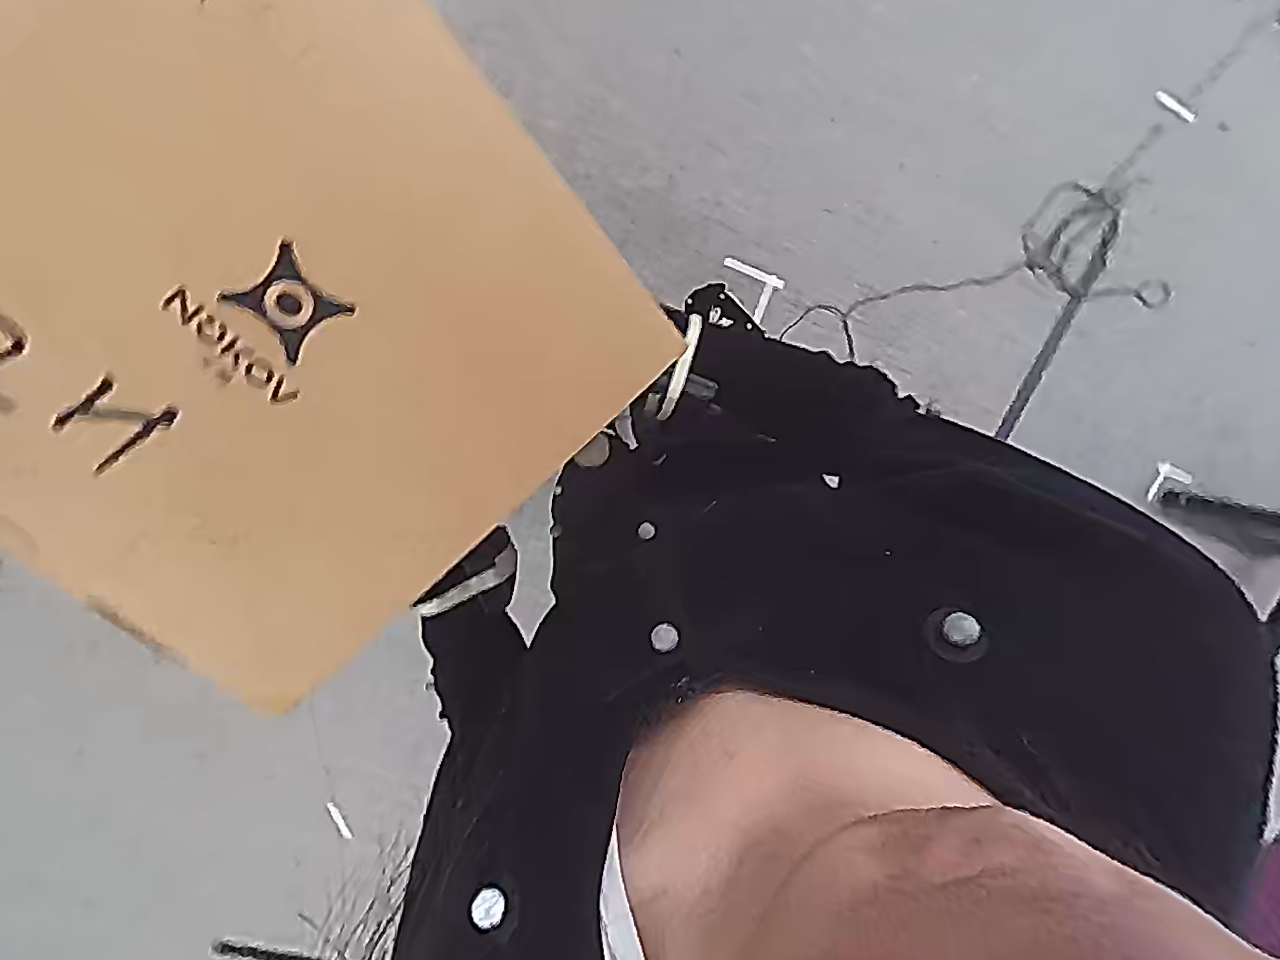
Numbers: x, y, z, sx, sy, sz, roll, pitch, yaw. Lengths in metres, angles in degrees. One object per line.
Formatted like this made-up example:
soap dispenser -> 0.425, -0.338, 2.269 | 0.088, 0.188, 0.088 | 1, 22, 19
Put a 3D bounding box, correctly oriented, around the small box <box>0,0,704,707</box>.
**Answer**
small box -> -0.111, -0.060, 0.221 | 0.179, 0.176, 0.168 | -43, 109, -3
